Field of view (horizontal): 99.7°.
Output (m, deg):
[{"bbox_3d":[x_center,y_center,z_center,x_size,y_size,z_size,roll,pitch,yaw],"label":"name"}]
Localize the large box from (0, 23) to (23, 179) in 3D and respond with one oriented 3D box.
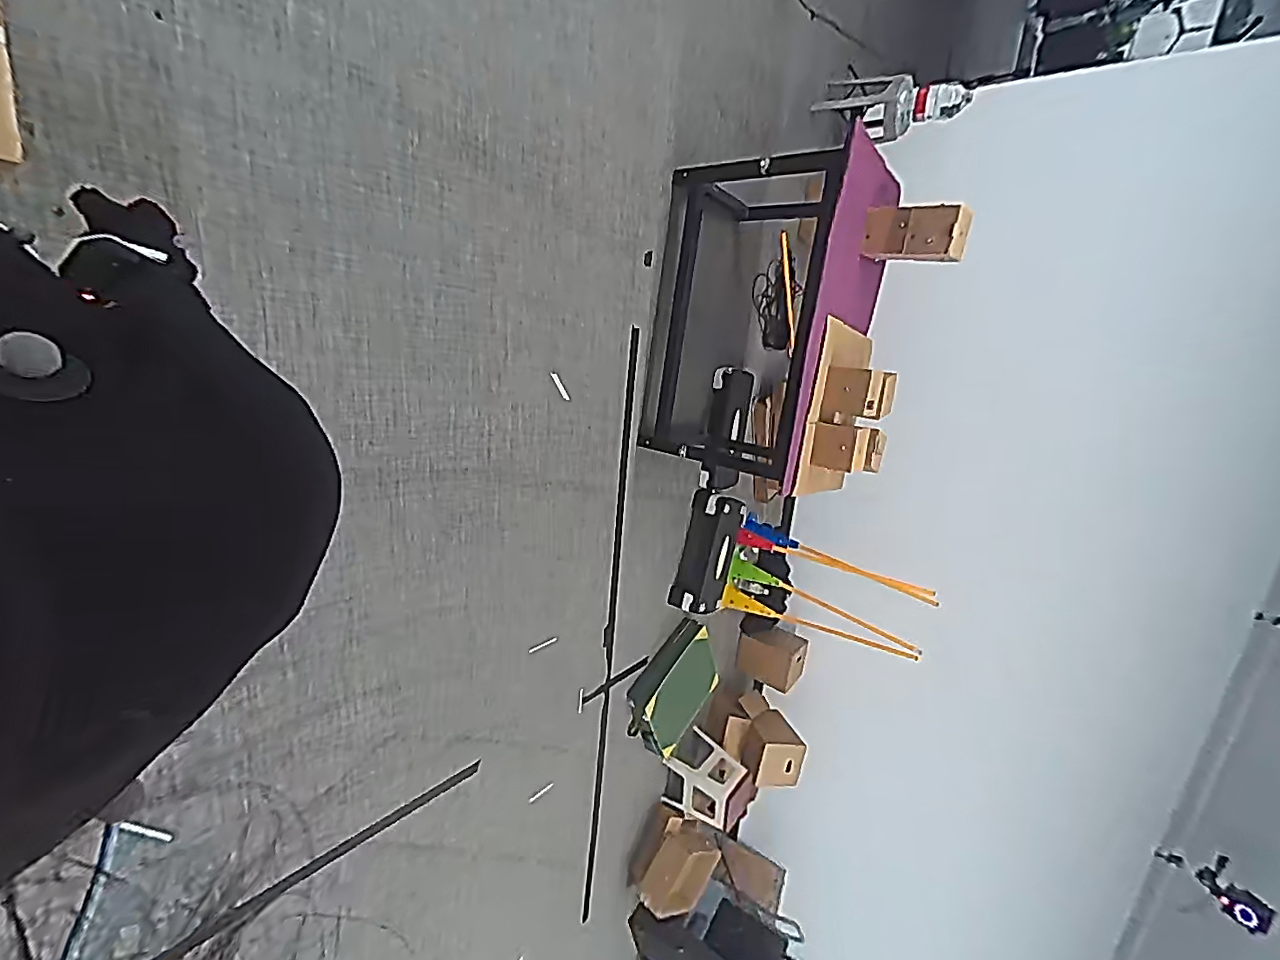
[{"bbox_3d":[-1.093,-0.595,0.654,0.408,0.320,0.320,-12,113,-52],"label":"large box"}]
